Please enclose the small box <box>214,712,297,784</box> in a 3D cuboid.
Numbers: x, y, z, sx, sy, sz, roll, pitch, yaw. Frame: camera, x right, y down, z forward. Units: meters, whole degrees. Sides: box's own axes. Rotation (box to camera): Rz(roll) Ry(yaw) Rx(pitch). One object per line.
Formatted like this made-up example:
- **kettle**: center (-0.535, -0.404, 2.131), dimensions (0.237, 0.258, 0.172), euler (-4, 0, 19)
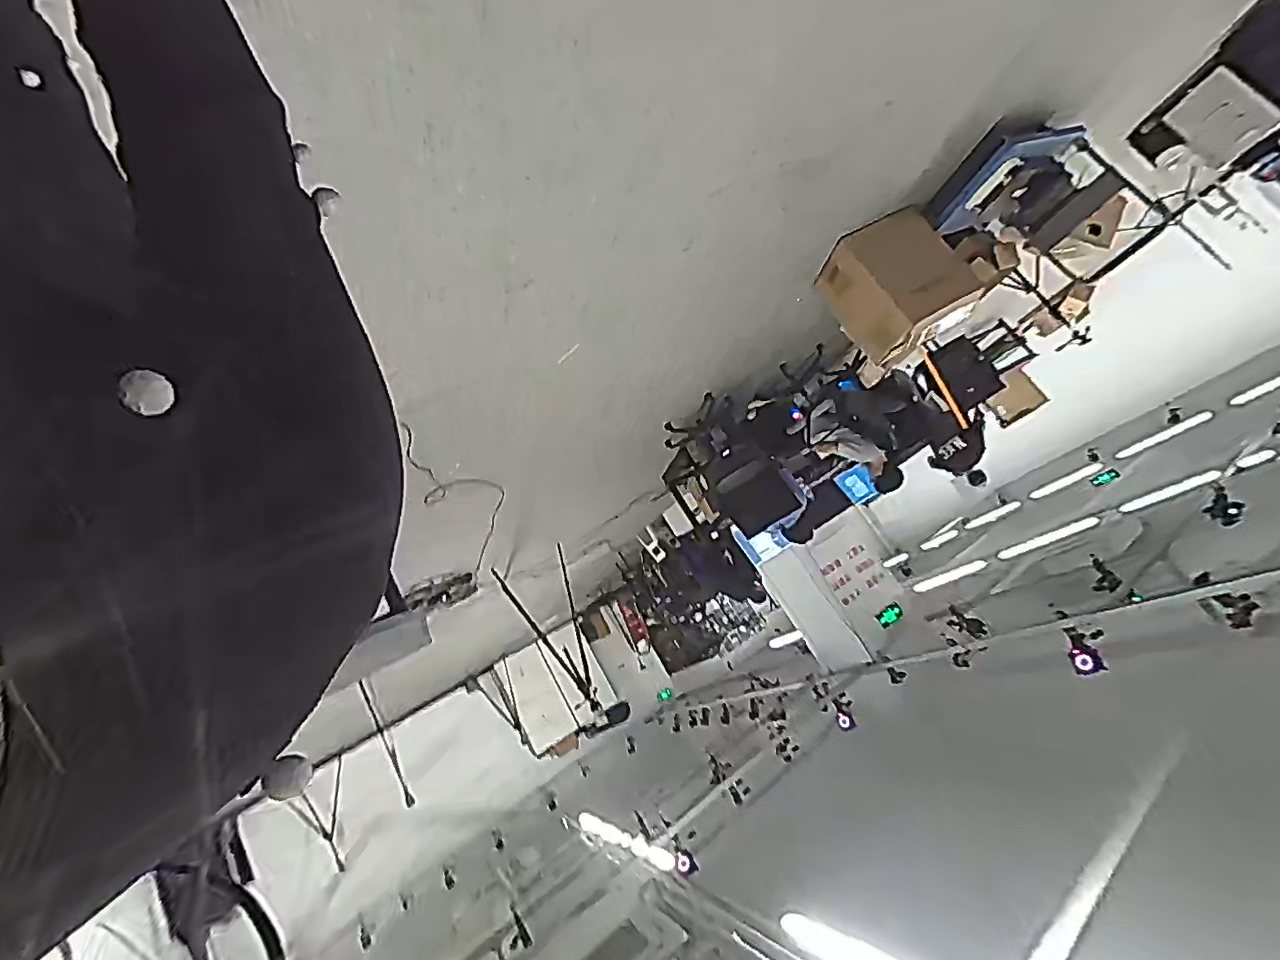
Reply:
- **small box**: center (-1.358, 0.940, 1.911), dimensions (0.168, 0.176, 0.179), euler (-26, 165, -23)
